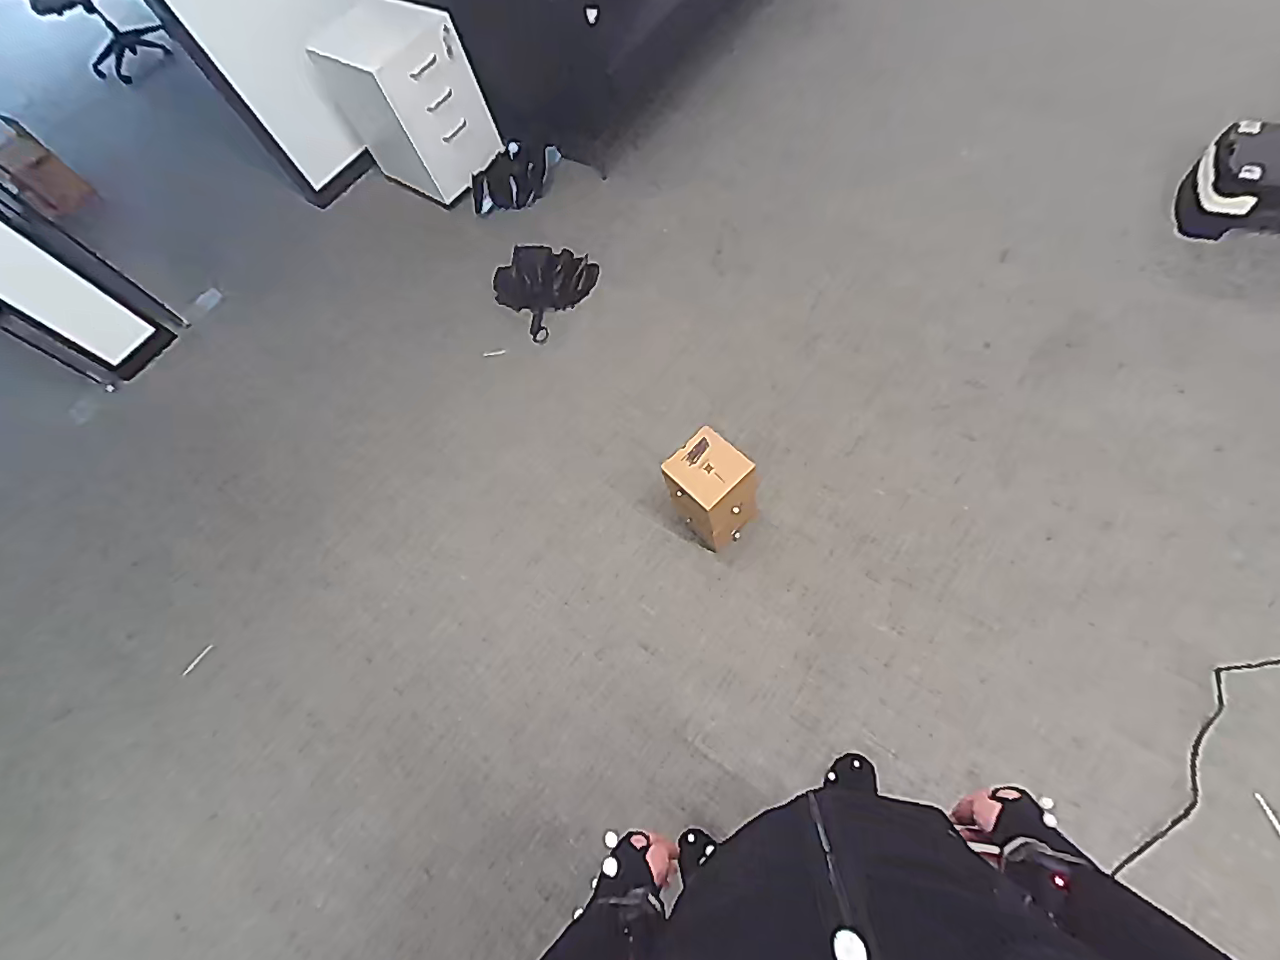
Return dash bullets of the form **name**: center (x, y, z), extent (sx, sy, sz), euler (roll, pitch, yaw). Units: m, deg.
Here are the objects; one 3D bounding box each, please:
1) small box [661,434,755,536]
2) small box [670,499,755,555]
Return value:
- **small box**: center (0.181, 0.018, 1.412), extent (0.168, 0.176, 0.179), euler (-42, 64, -9)
- **small box**: center (0.210, 0.091, 1.557), extent (0.168, 0.176, 0.179), euler (-43, 65, -9)
